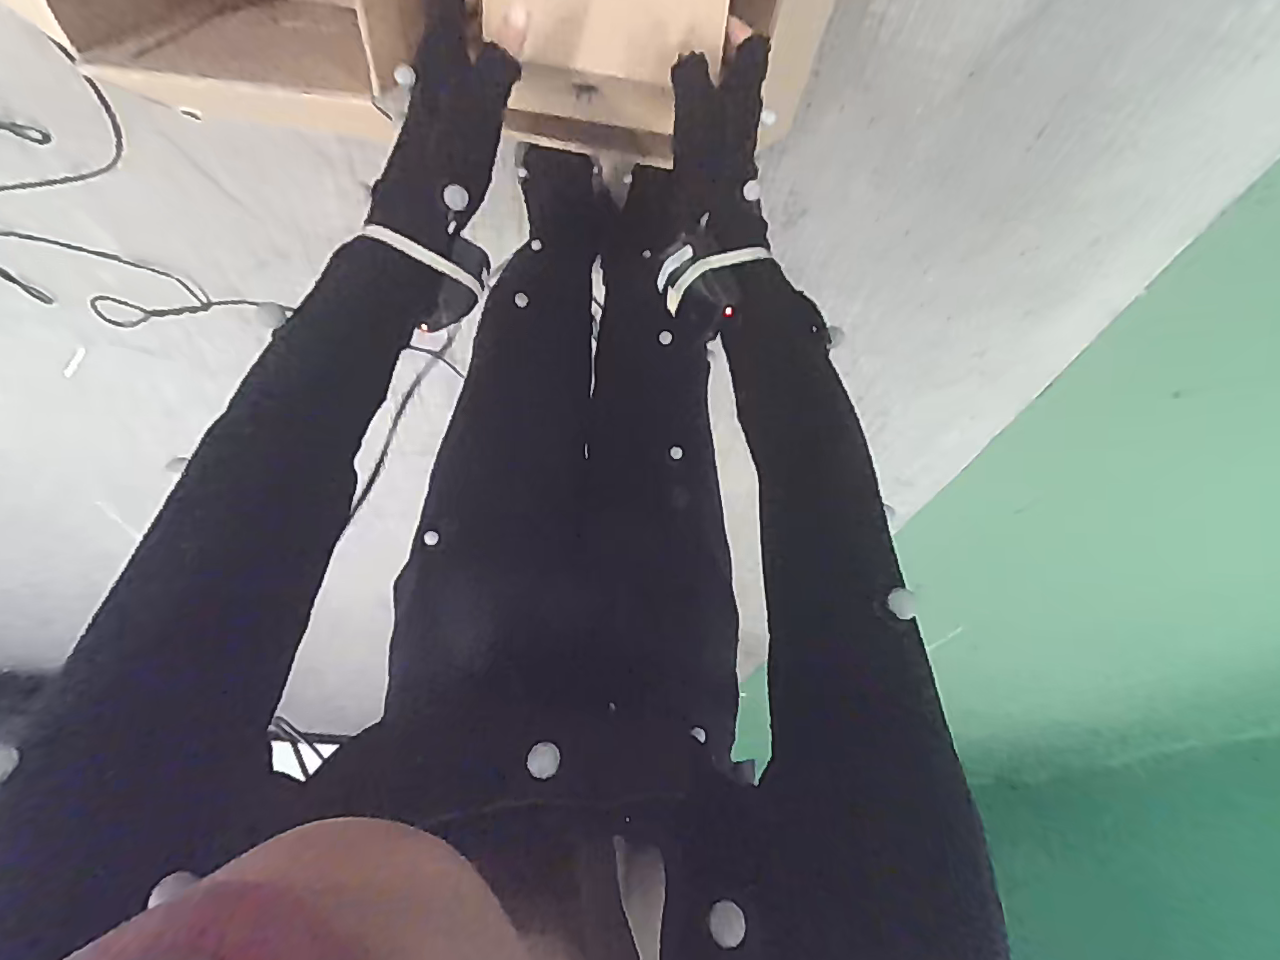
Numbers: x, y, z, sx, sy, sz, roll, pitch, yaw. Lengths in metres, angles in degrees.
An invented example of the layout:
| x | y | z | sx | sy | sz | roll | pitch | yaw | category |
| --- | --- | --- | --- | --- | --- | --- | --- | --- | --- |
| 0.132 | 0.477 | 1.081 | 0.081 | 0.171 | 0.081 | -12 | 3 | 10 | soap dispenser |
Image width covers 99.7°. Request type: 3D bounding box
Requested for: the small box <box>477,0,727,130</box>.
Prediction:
| x | y | z | sx | sy | sz | roll | pitch | yaw | category |
| --- | --- | --- | --- | --- | --- | --- | --- | --- | --- |
| -0.031 | -0.401 | 0.435 | 0.179 | 0.176 | 0.168 | 2 | 114 | -10 | small box |
